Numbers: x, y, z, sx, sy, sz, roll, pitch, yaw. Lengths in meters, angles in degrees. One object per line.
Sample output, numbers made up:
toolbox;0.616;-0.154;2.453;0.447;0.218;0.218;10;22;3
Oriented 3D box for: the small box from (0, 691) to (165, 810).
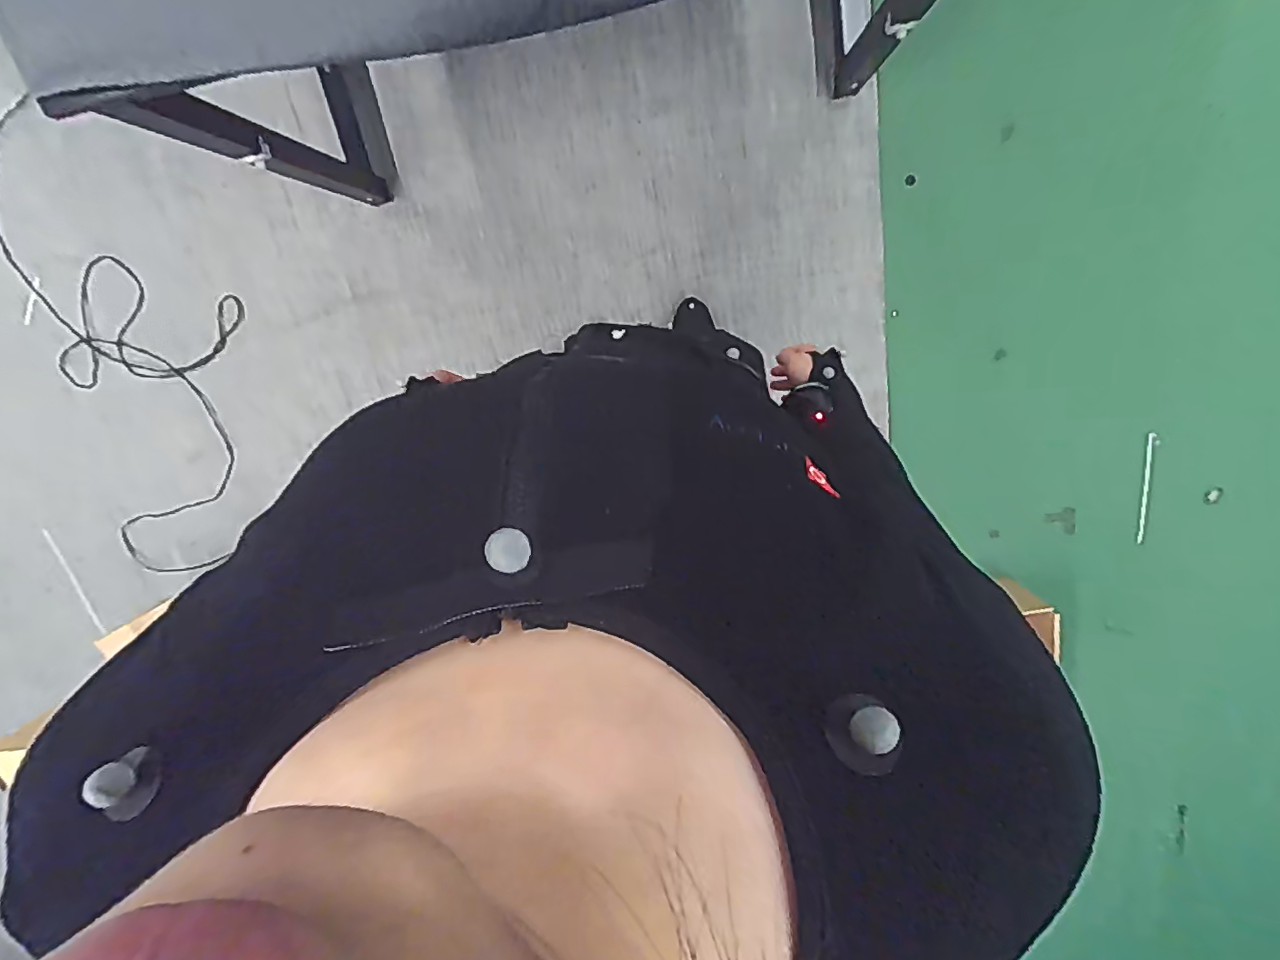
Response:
small box;-1.218;0.589;1.188;0.179;0.176;0.168;-7;108;7
